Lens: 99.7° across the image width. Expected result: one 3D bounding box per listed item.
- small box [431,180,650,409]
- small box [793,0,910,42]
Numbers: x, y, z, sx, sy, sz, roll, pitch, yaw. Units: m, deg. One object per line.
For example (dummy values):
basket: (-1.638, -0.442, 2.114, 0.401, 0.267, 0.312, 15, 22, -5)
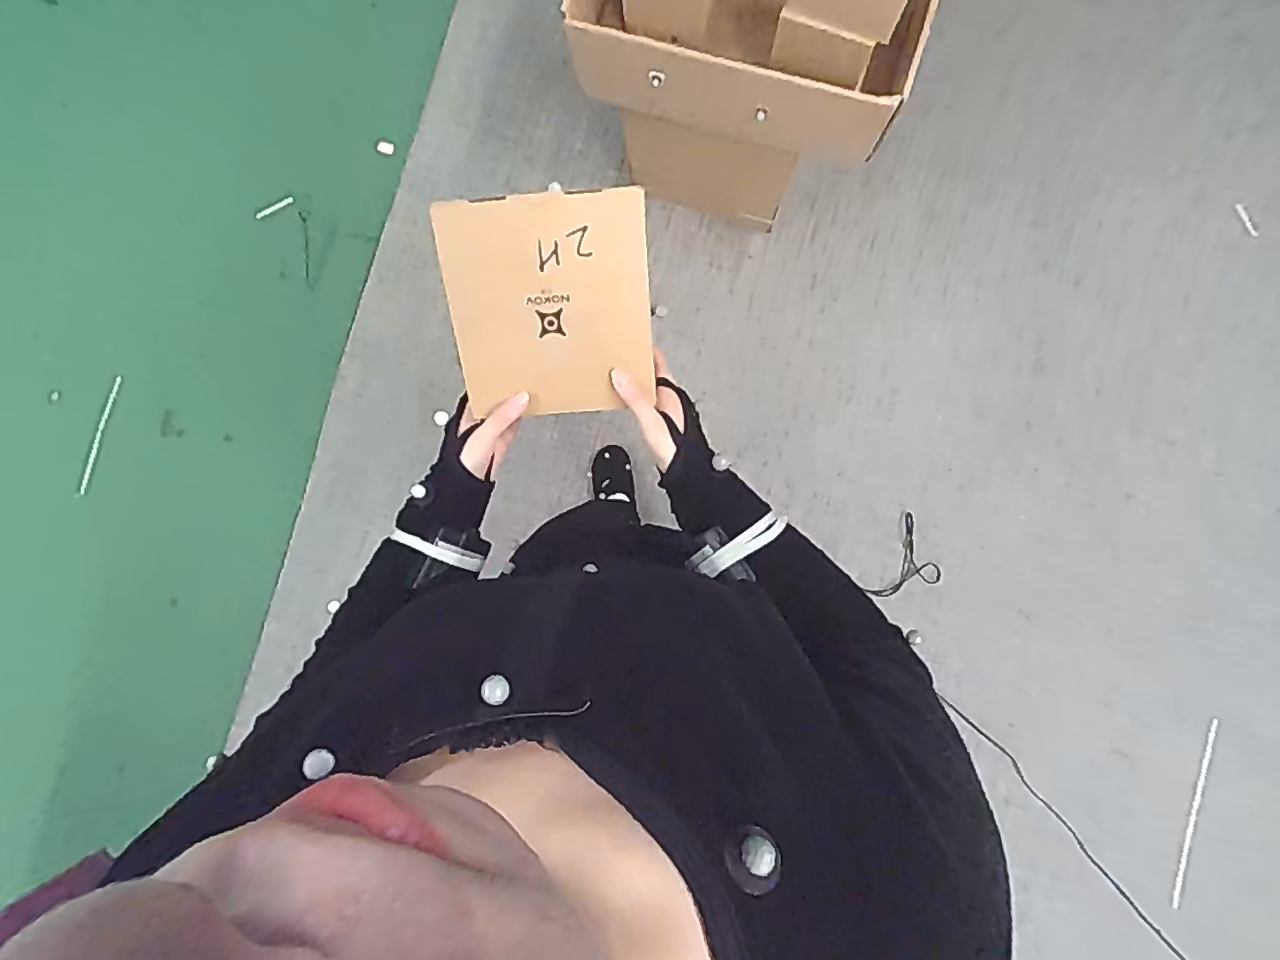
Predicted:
small box: (-0.074, -0.178, 0.516, 0.168, 0.176, 0.179, -3, 114, 1)
small box: (0.348, -0.809, 0.800, 0.179, 0.176, 0.168, 24, 89, 4)
